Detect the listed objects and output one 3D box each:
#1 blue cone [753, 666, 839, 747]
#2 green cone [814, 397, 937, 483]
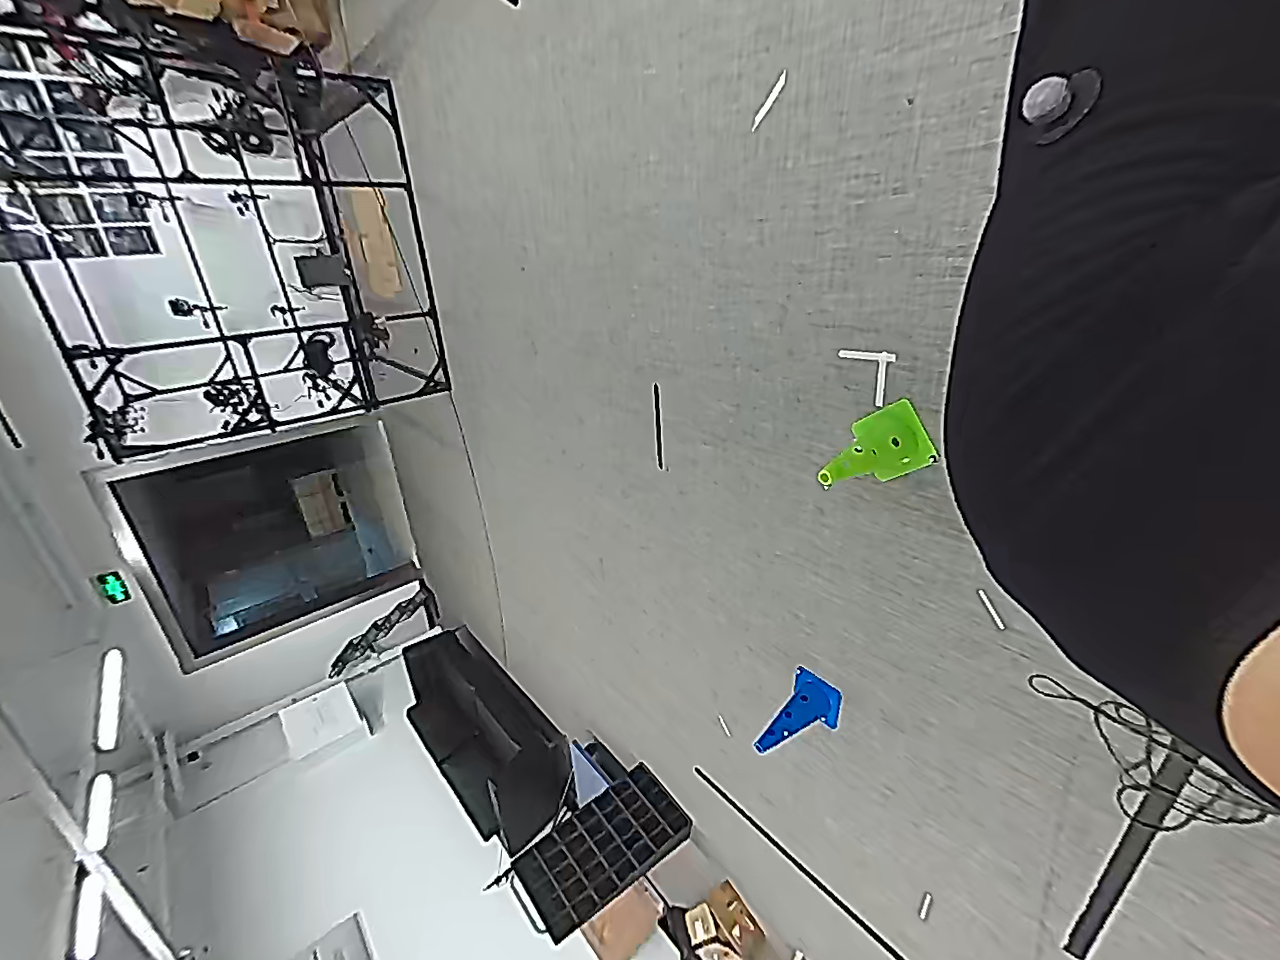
[{"bbox_3d":[0.575,0.902,2.061,0.192,0.380,0.193,29,129,44],"label":"blue cone"},{"bbox_3d":[0.603,-0.068,1.479,0.202,0.368,0.200,-35,78,56],"label":"green cone"}]
